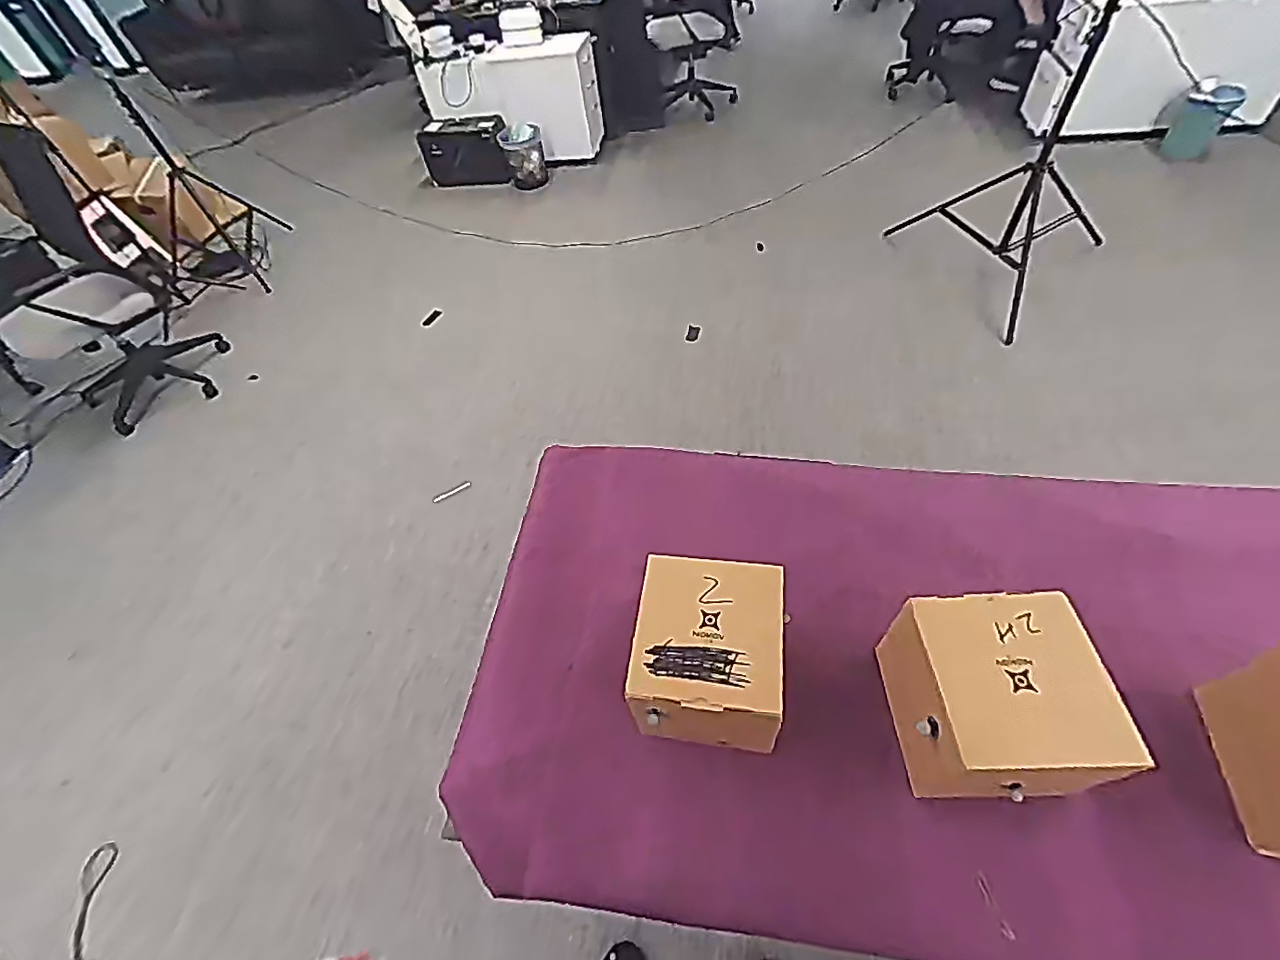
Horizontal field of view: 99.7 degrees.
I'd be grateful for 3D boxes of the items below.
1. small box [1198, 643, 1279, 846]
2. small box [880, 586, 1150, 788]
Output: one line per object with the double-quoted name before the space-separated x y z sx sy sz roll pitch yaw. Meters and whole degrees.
"small box" 0.727 0.268 0.536 0.168 0.176 0.179 6 52 13
"small box" 0.391 0.239 0.608 0.168 0.176 0.179 -4 51 5
